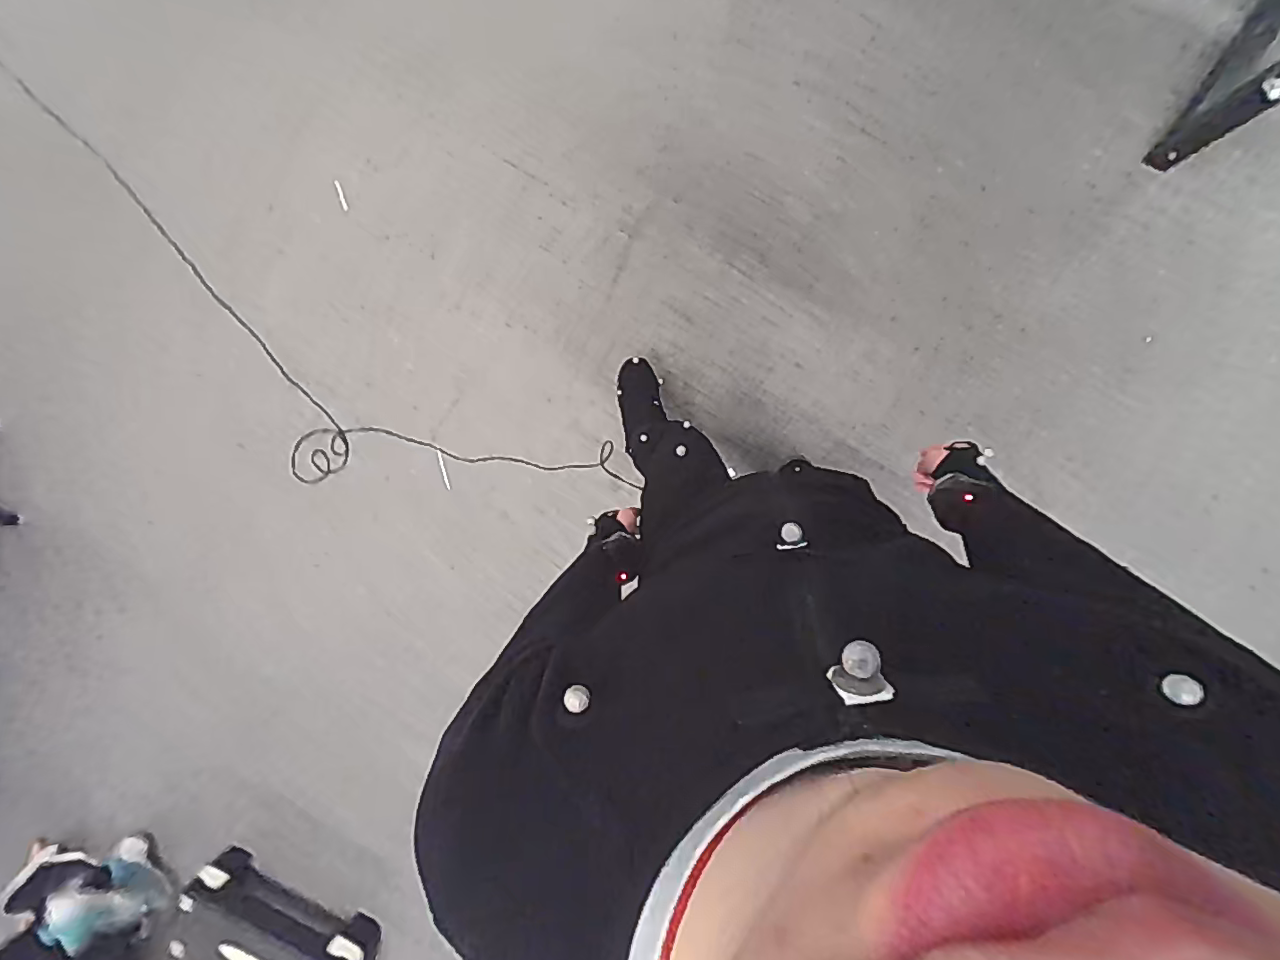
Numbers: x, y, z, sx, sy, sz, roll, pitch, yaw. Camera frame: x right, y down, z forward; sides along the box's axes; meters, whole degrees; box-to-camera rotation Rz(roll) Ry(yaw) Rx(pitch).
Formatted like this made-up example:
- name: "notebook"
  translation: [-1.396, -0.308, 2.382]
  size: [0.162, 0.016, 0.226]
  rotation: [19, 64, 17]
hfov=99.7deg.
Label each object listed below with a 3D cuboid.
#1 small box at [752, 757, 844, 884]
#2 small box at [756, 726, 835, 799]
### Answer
- name: "small box"
  translation: [0.392, 0.850, 1.365]
  size: [0.168, 0.176, 0.179]
  rotation: [21, 99, 9]
- name: "small box"
  translation: [0.429, 0.836, 1.525]
  size: [0.168, 0.176, 0.179]
  rotation: [20, 102, 9]
